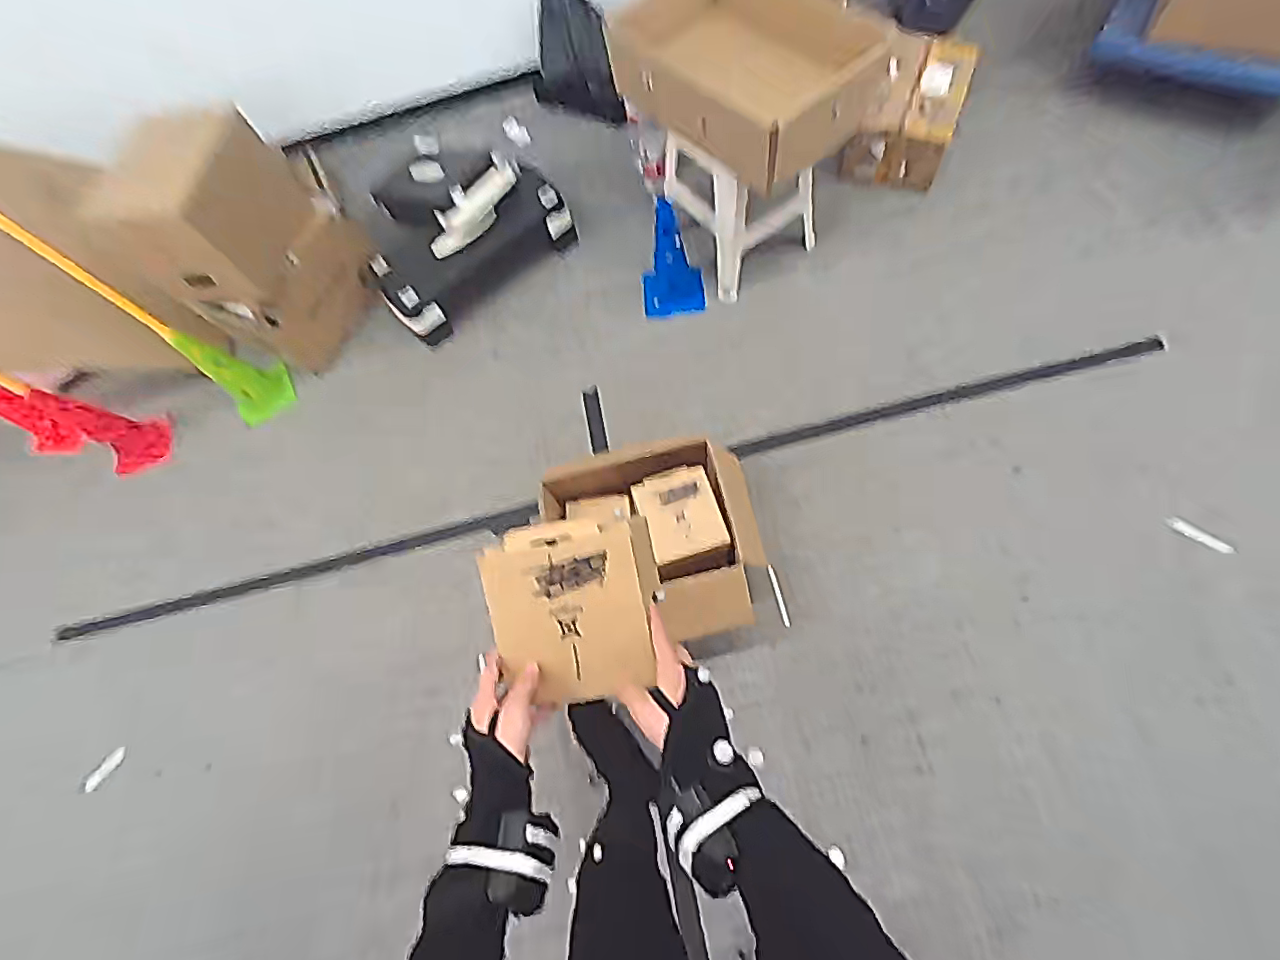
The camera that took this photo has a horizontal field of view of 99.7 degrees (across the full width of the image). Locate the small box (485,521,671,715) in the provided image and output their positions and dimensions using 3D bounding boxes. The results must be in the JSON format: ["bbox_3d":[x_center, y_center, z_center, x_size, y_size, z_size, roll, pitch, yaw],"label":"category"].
[{"bbox_3d":[-0.061,0.146,0.634,0.168,0.176,0.179,-11,88,7],"label":"small box"}]
